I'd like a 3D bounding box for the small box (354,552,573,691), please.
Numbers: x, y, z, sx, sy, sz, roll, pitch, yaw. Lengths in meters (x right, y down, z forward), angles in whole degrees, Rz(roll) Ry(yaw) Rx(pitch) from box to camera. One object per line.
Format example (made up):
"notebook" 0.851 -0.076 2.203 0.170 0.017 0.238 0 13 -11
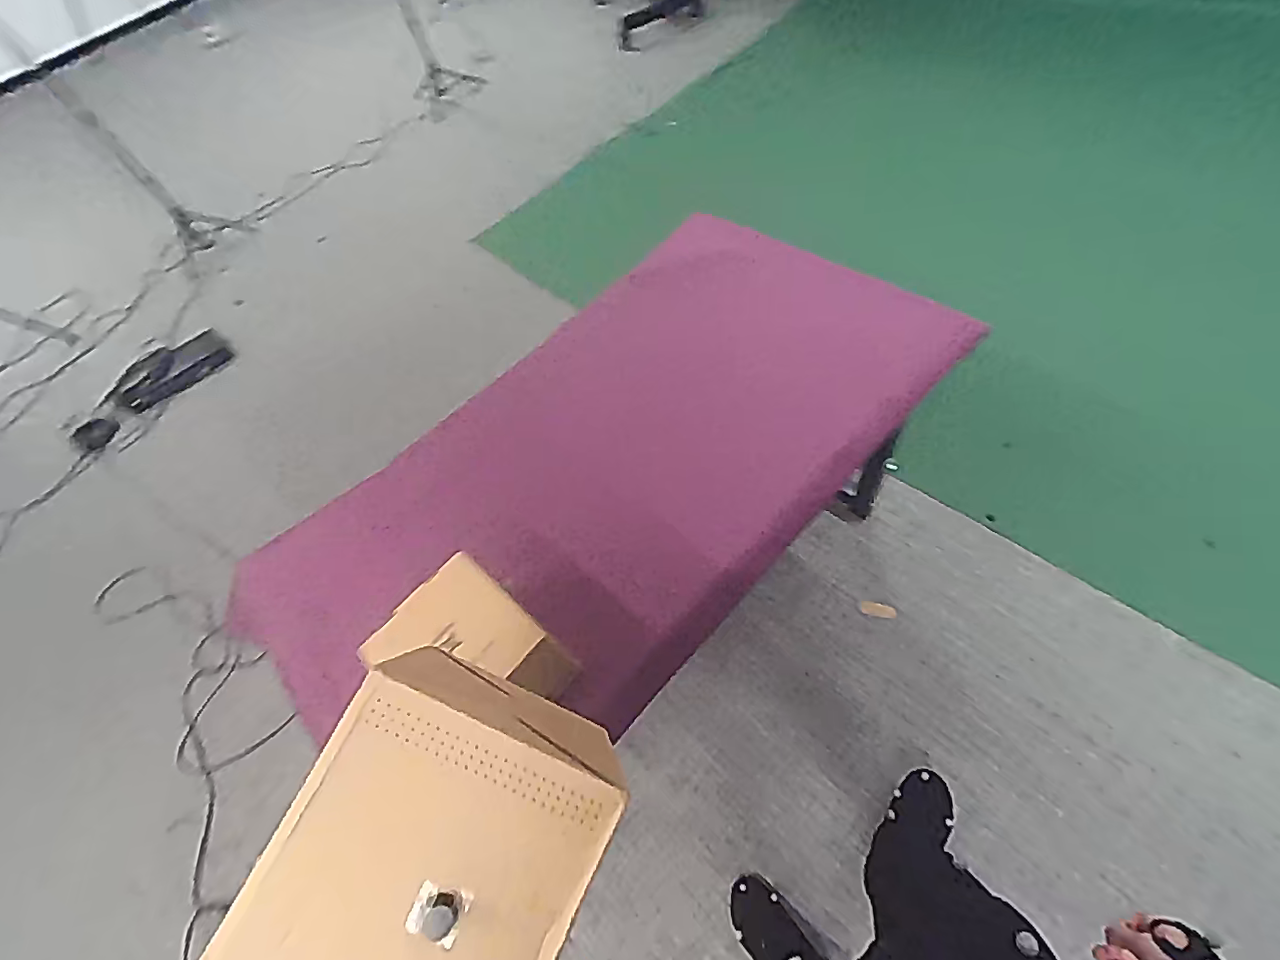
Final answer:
"small box" -0.216 0.231 0.697 0.179 0.176 0.168 35 71 28

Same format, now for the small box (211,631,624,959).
"small box" -0.127 0.224 0.382 0.179 0.168 0.176 27 74 -3
